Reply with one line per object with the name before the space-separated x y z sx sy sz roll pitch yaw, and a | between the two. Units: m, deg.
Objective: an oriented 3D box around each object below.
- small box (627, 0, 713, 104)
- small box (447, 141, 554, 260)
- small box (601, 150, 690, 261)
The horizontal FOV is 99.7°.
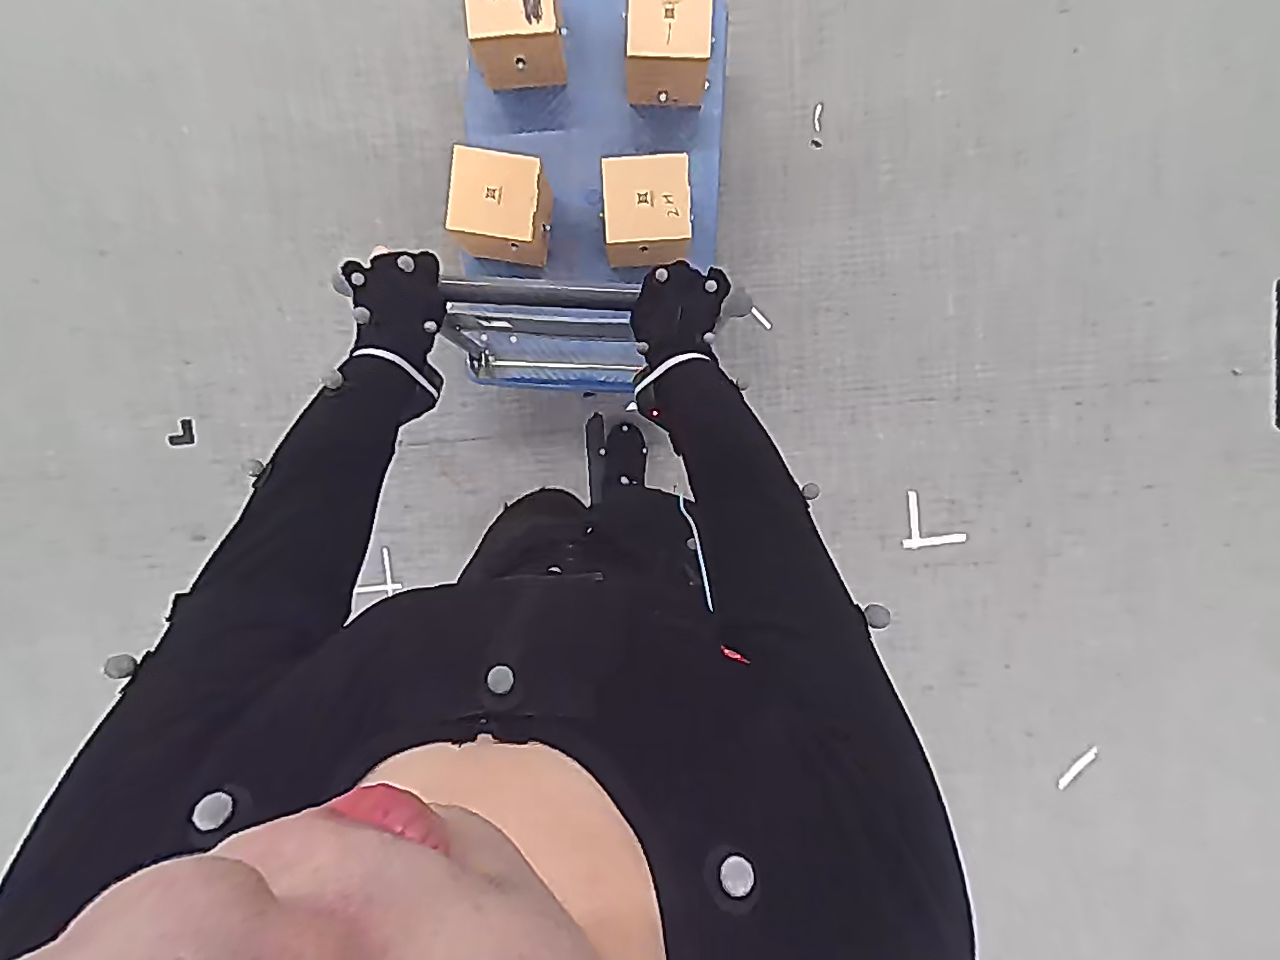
small box | 0.060 -0.928 1.126 0.168 0.176 0.179 2 97 0
small box | -0.292 -0.590 1.163 0.179 0.176 0.168 8 95 -2
small box | 0.014 -0.580 1.163 0.179 0.176 0.168 -3 96 1
